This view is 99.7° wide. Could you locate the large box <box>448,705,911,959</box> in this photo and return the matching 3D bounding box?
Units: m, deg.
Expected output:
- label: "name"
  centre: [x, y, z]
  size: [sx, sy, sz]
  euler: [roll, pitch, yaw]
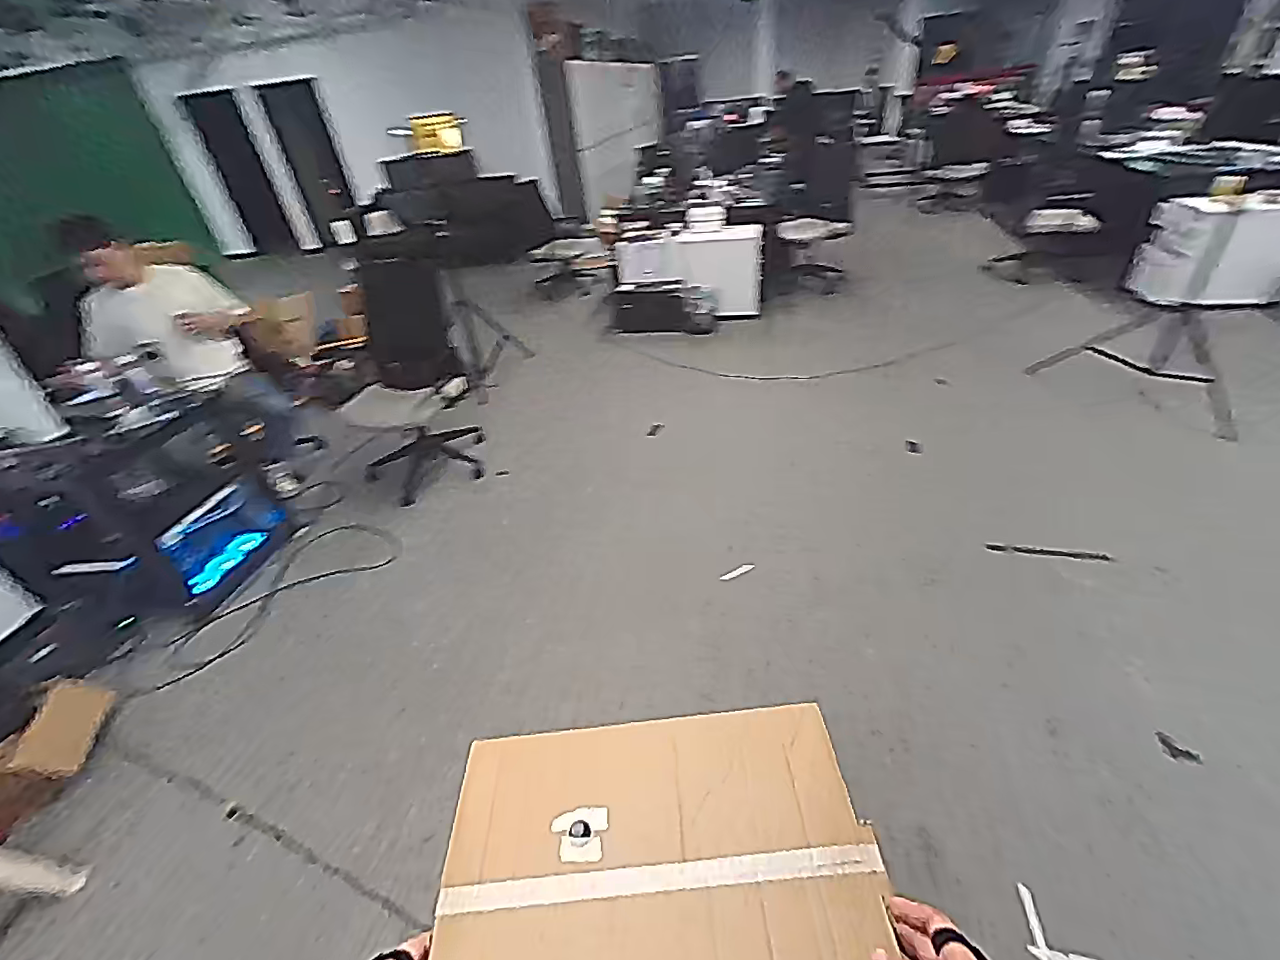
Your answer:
- label: "large box"
  centre: [0.048, 0.494, 0.596]
  size: [0.408, 0.320, 0.320]
  euler: [-9, 36, 5]
